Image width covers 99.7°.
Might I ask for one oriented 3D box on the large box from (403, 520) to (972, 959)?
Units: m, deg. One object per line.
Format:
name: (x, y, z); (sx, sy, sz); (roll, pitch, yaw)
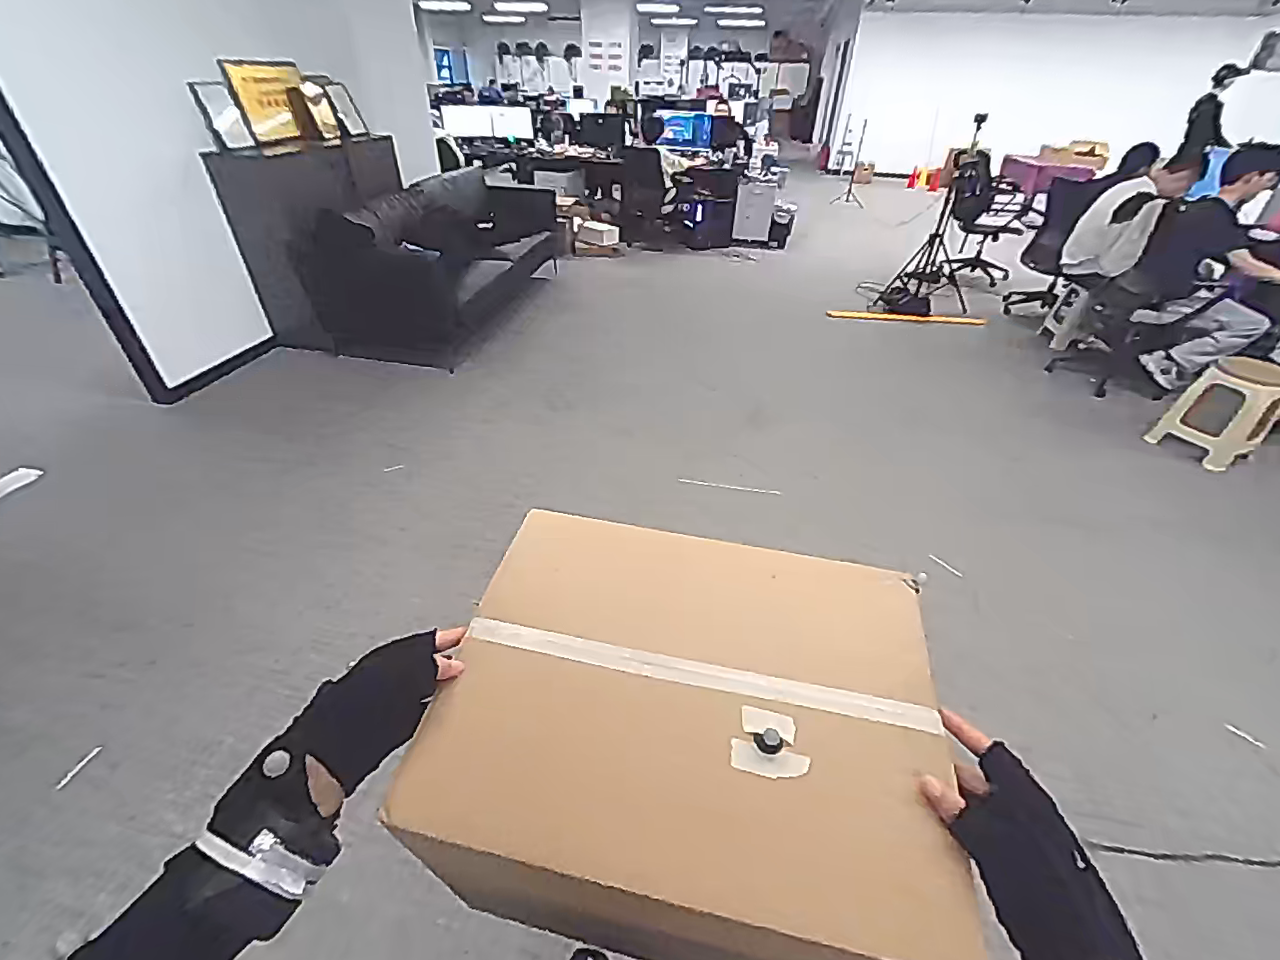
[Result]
large box: (0.044, 0.280, 0.576); (0.408, 0.320, 0.320); (8, 44, 8)
